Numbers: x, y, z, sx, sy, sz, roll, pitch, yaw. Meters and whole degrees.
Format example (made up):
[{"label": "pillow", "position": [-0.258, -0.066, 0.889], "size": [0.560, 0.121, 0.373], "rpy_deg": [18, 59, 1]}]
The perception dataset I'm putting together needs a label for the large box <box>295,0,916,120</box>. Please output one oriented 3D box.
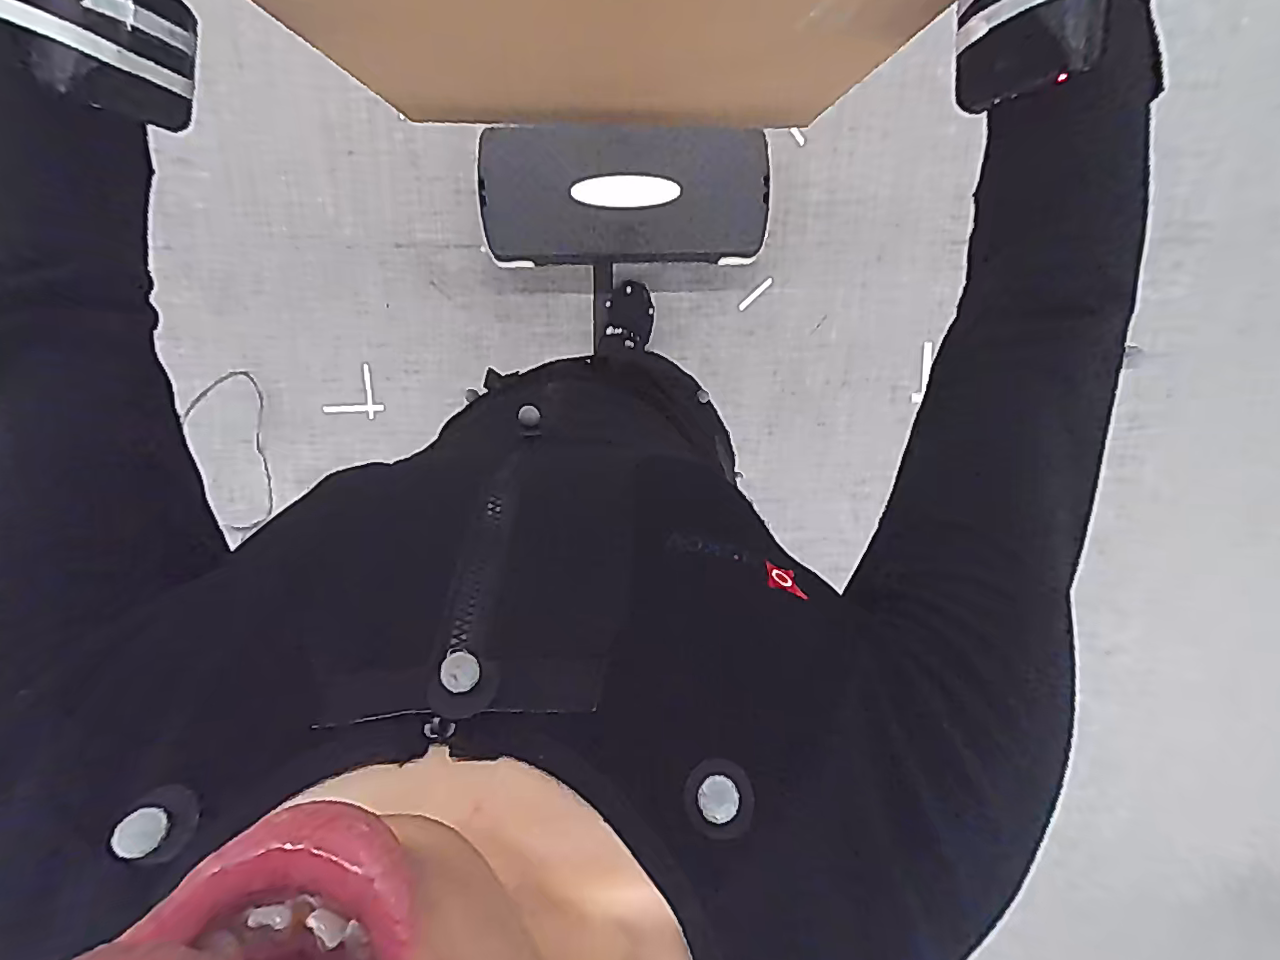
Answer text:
[{"label": "large box", "position": [-0.023, -0.465, 0.360], "size": [0.408, 0.320, 0.320], "rpy_deg": [-1, 111, -2]}]
